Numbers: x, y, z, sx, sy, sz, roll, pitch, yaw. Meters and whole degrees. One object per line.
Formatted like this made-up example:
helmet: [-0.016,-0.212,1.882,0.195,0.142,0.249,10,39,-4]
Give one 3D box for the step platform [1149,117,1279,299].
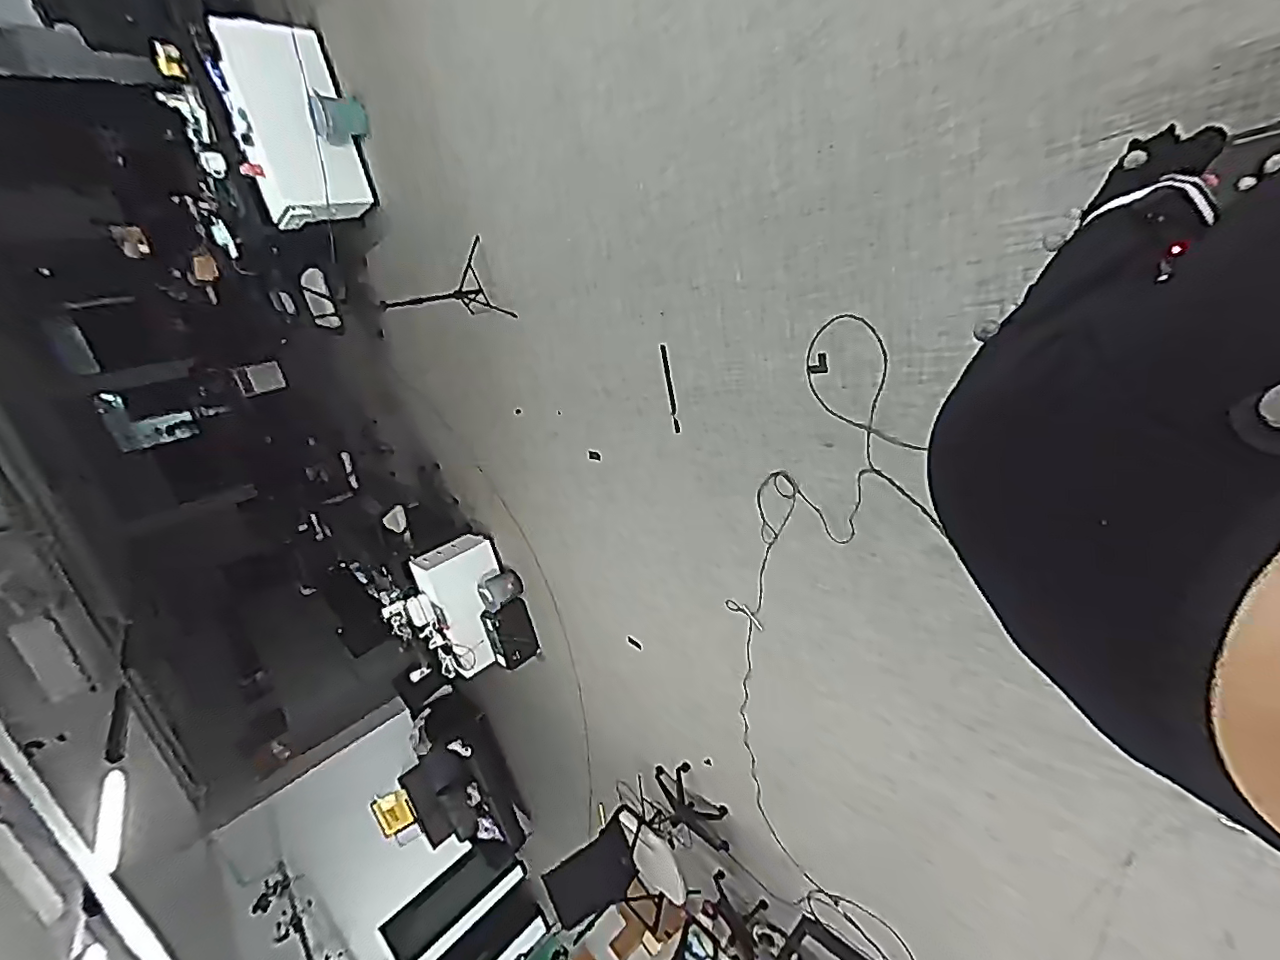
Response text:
step platform: [1.267,-0.490,0.847,0.684,0.204,0.286,4,115,47]
